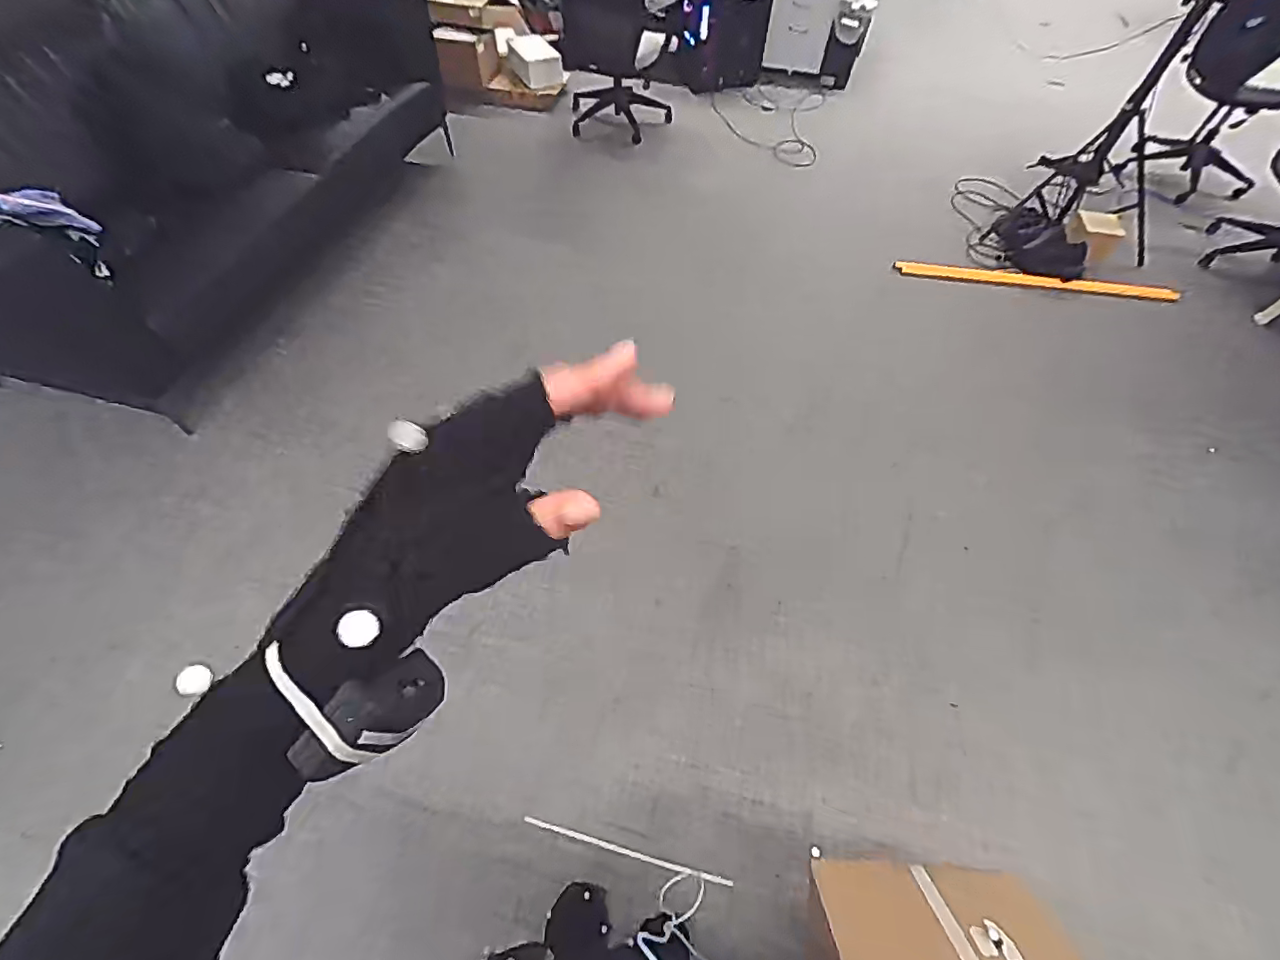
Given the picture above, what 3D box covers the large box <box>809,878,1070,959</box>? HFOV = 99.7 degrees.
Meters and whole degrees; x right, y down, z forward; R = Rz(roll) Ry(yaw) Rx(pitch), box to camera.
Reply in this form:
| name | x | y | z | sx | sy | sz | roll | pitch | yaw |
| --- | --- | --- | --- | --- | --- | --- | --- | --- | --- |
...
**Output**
| name | x | y | z | sx | sy | sz | roll | pitch | yaw |
| --- | --- | --- | --- | --- | --- | --- | --- | --- | --- |
| large box | 0.399 | 0.770 | 0.630 | 0.320 | 0.408 | 0.320 | 1 | 90 | 5 |
